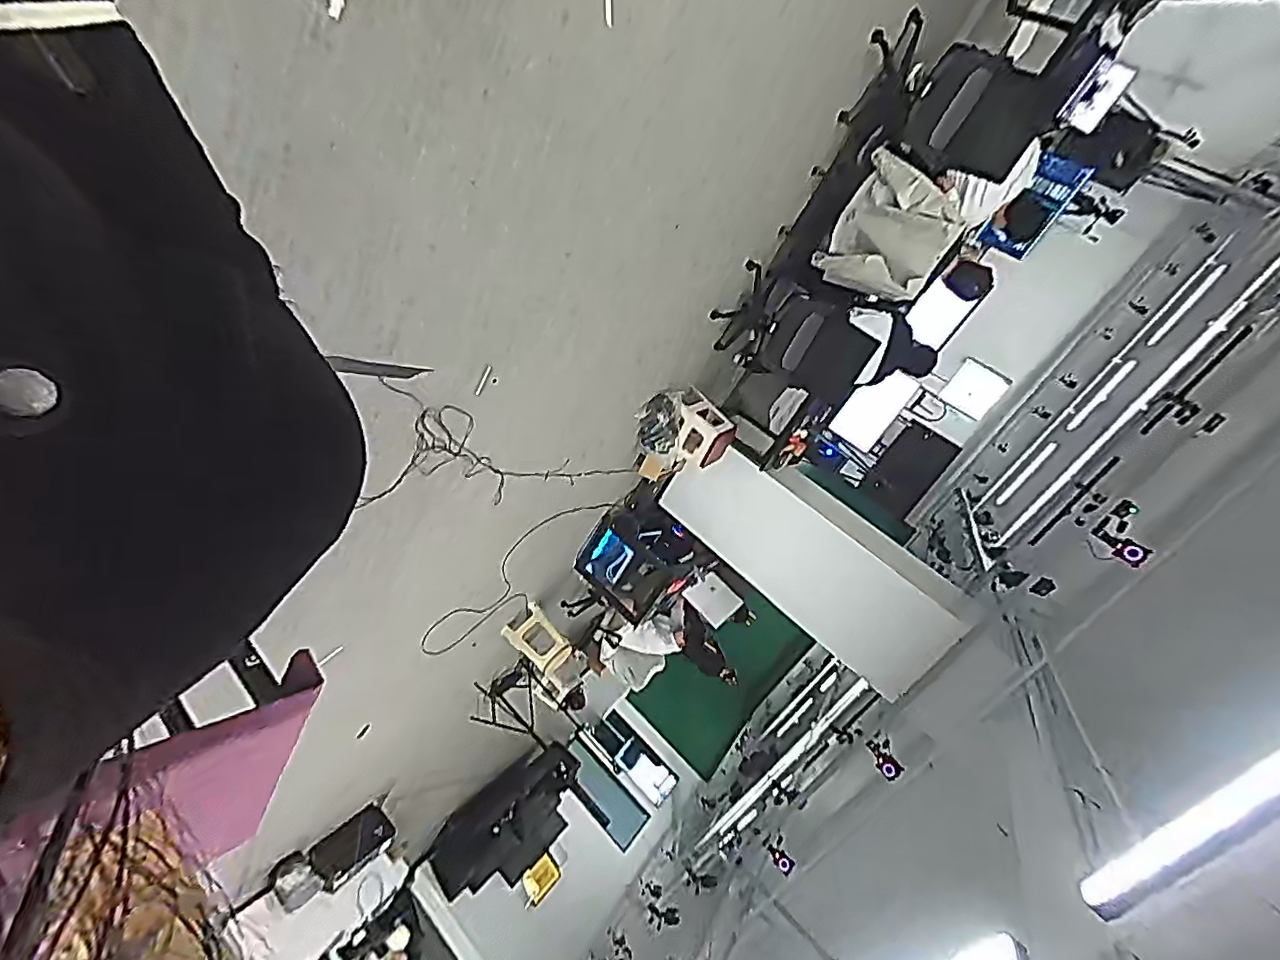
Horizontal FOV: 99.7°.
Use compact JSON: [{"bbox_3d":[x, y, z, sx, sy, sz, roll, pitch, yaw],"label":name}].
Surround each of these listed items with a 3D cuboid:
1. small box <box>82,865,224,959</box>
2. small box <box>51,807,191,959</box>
[{"bbox_3d":[-0.974,0.923,1.080,0.168,0.176,0.179,-17,143,-57],"label":"small box"},{"bbox_3d":[-1.101,0.839,1.145,0.179,0.176,0.168,-57,159,22],"label":"small box"}]
